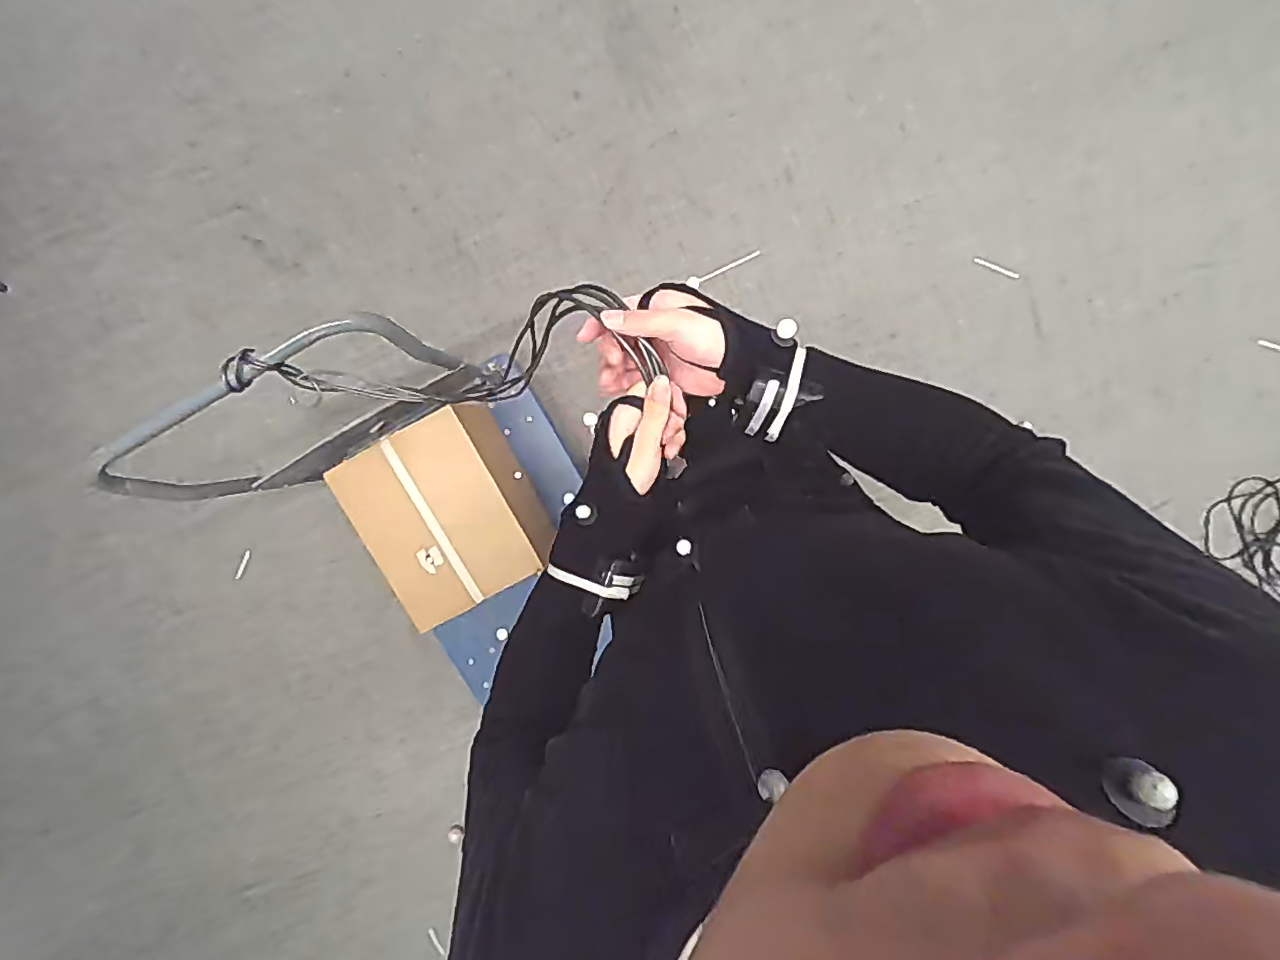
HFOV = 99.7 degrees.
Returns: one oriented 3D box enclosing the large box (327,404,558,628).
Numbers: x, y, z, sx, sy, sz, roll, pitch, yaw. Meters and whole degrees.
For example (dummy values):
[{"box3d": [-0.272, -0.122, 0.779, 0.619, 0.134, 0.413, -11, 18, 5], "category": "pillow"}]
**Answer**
[{"box3d": [-0.439, 0.064, 1.300, 0.320, 0.320, 0.408, -28, 97, 2], "category": "large box"}]
